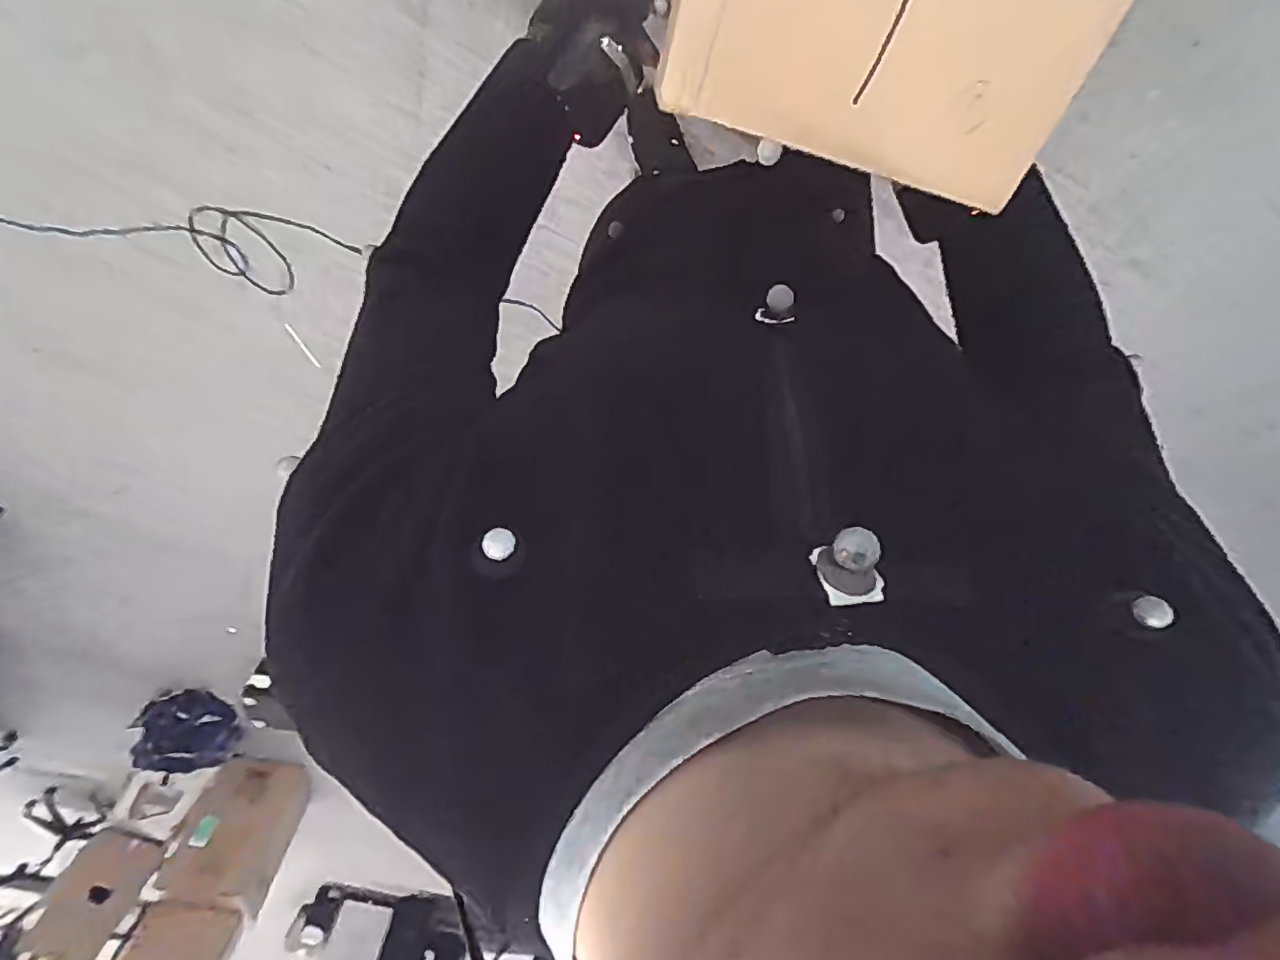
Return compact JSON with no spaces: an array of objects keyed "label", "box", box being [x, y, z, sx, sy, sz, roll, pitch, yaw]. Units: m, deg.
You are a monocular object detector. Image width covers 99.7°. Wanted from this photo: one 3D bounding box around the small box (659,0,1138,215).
[{"label":"small box","box":[0.108,-0.252,0.244,0.168,0.176,0.179,13,128,-8]}]
